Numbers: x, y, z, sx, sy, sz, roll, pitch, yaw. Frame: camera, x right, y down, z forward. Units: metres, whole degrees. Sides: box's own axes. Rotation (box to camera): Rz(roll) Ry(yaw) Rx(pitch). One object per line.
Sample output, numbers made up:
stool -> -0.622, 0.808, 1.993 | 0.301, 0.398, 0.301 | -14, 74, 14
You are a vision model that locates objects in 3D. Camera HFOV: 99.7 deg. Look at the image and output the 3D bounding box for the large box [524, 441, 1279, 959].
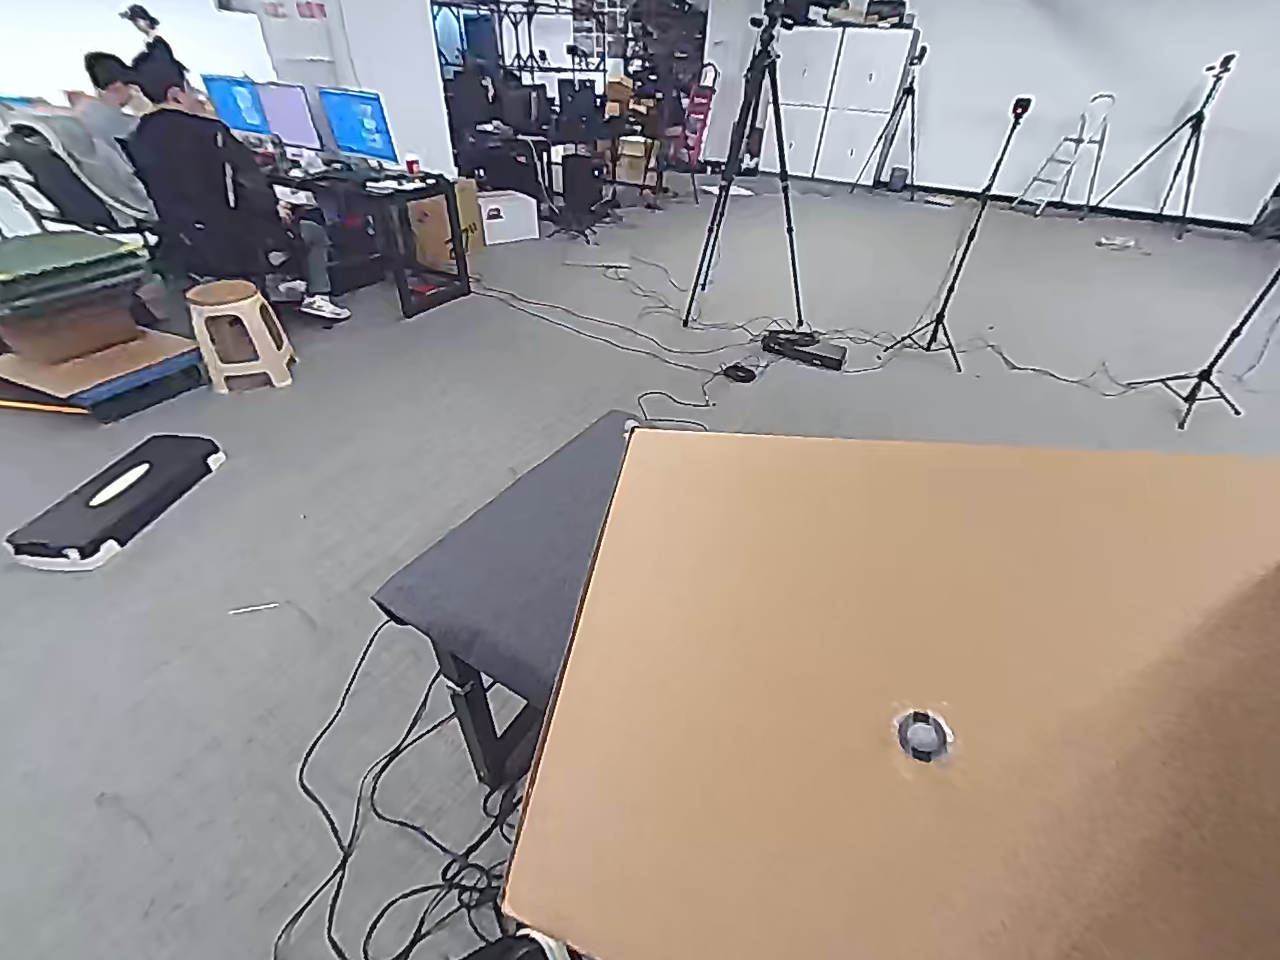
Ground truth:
large box -> 0.192, 0.182, 0.406 | 0.408, 0.320, 0.320 | 4, 67, 22
